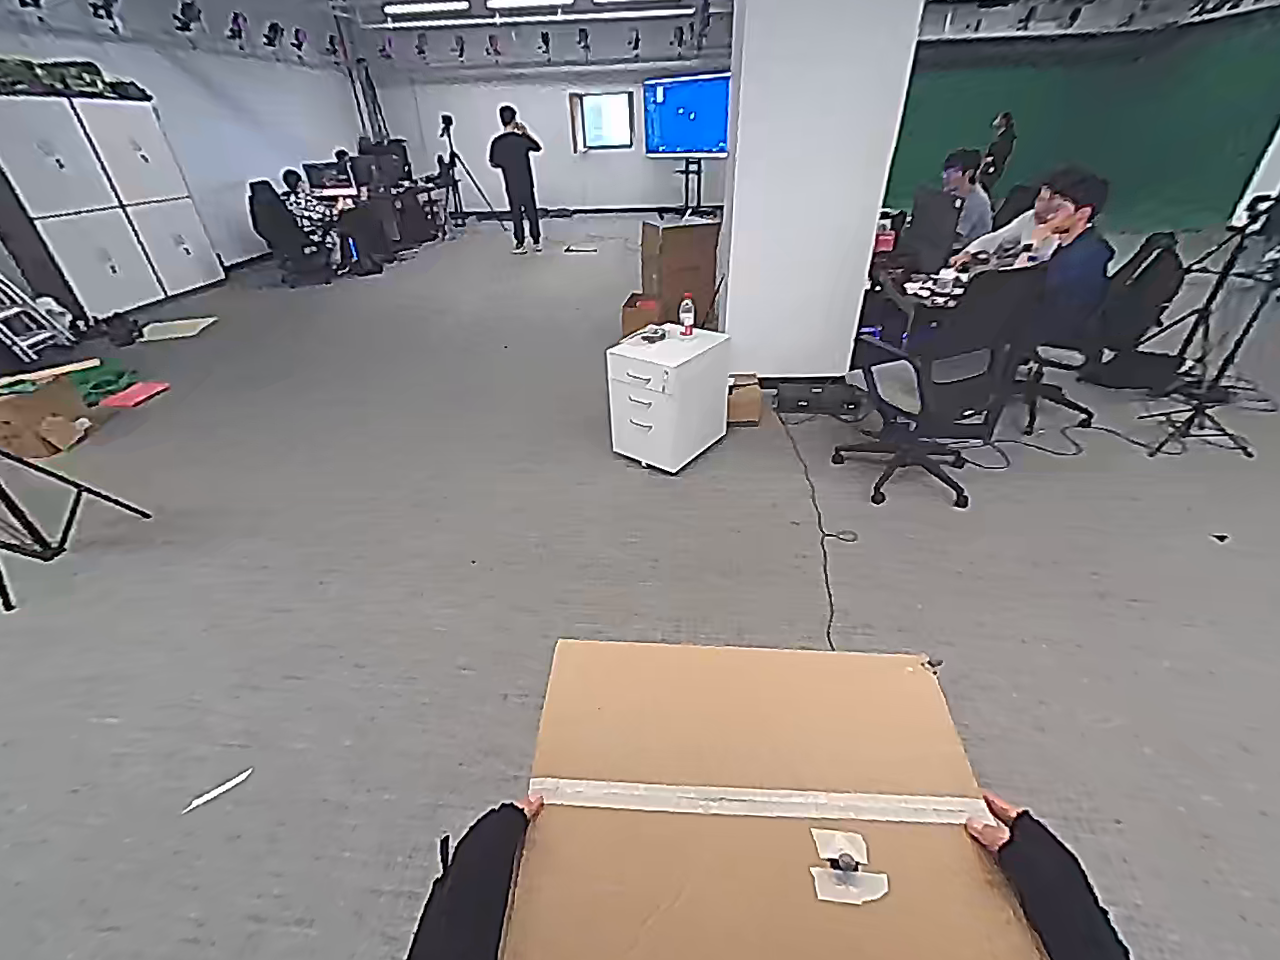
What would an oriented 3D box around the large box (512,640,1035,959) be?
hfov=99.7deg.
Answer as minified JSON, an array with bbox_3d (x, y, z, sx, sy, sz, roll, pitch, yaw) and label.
[{"bbox_3d":[0.104,0.400,0.592,0.408,0.320,0.320,2,42,2],"label":"large box"}]
